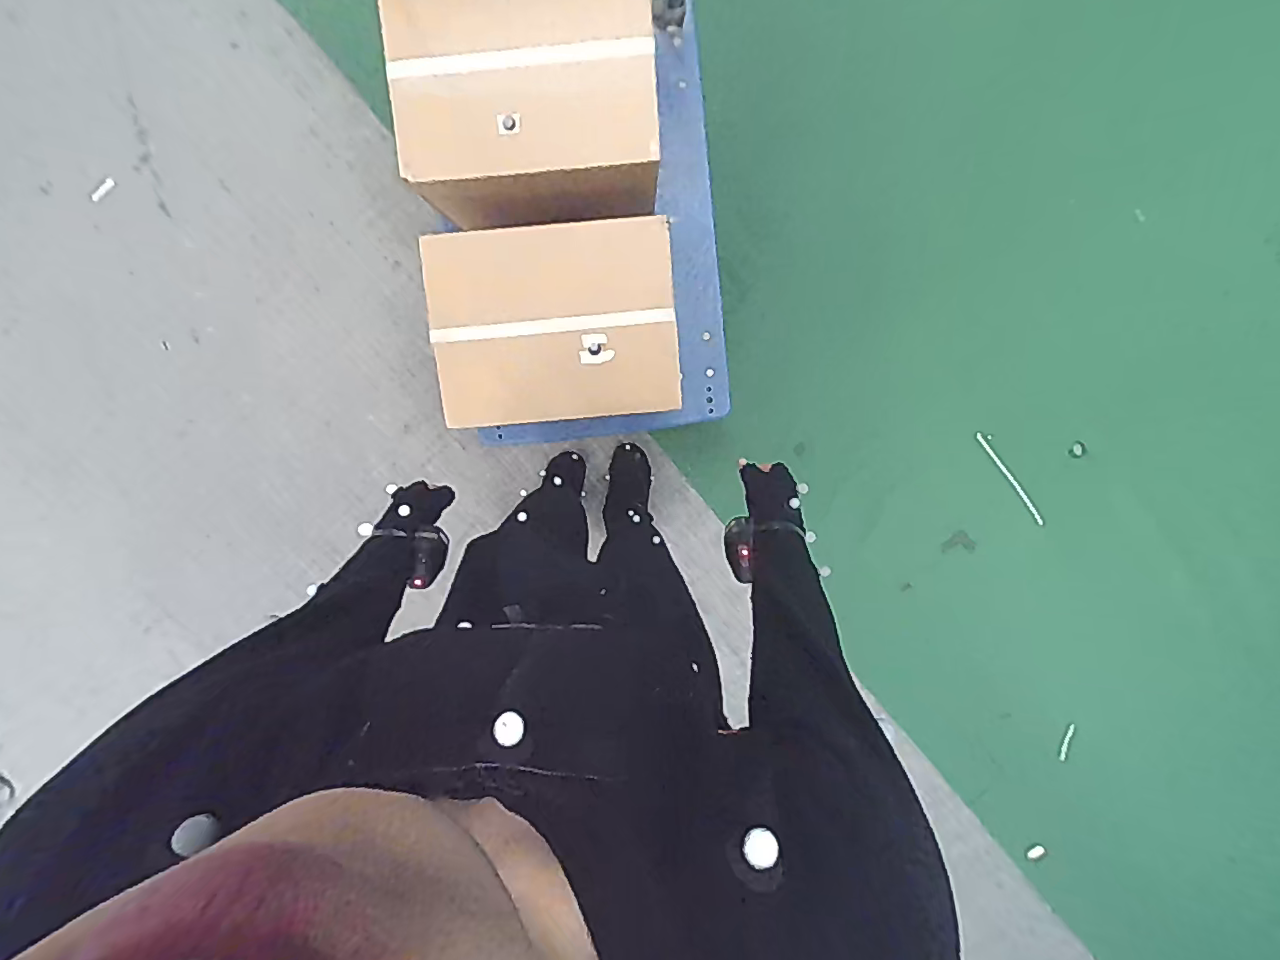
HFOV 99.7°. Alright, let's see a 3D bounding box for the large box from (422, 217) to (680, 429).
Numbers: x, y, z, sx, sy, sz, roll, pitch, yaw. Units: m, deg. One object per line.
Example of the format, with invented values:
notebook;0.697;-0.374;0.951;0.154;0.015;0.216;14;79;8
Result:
large box;-0.148;-0.276;1.041;0.408;0.320;0.320;-5;98;-1
